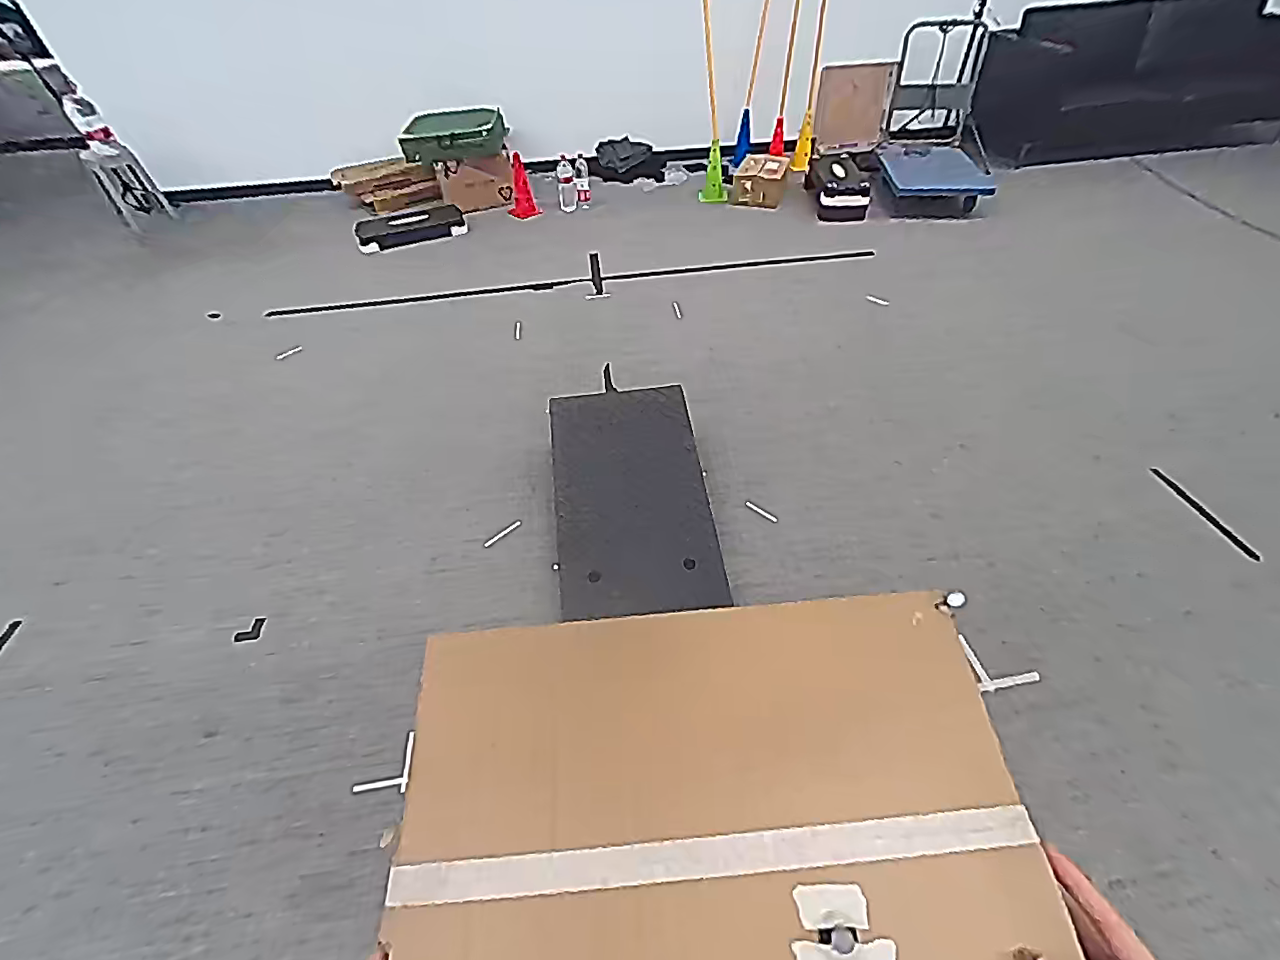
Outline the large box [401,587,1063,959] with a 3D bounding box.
[{"bbox_3d":[0.051,0.312,0.483,0.408,0.320,0.320,-5,60,-1],"label":"large box"}]
